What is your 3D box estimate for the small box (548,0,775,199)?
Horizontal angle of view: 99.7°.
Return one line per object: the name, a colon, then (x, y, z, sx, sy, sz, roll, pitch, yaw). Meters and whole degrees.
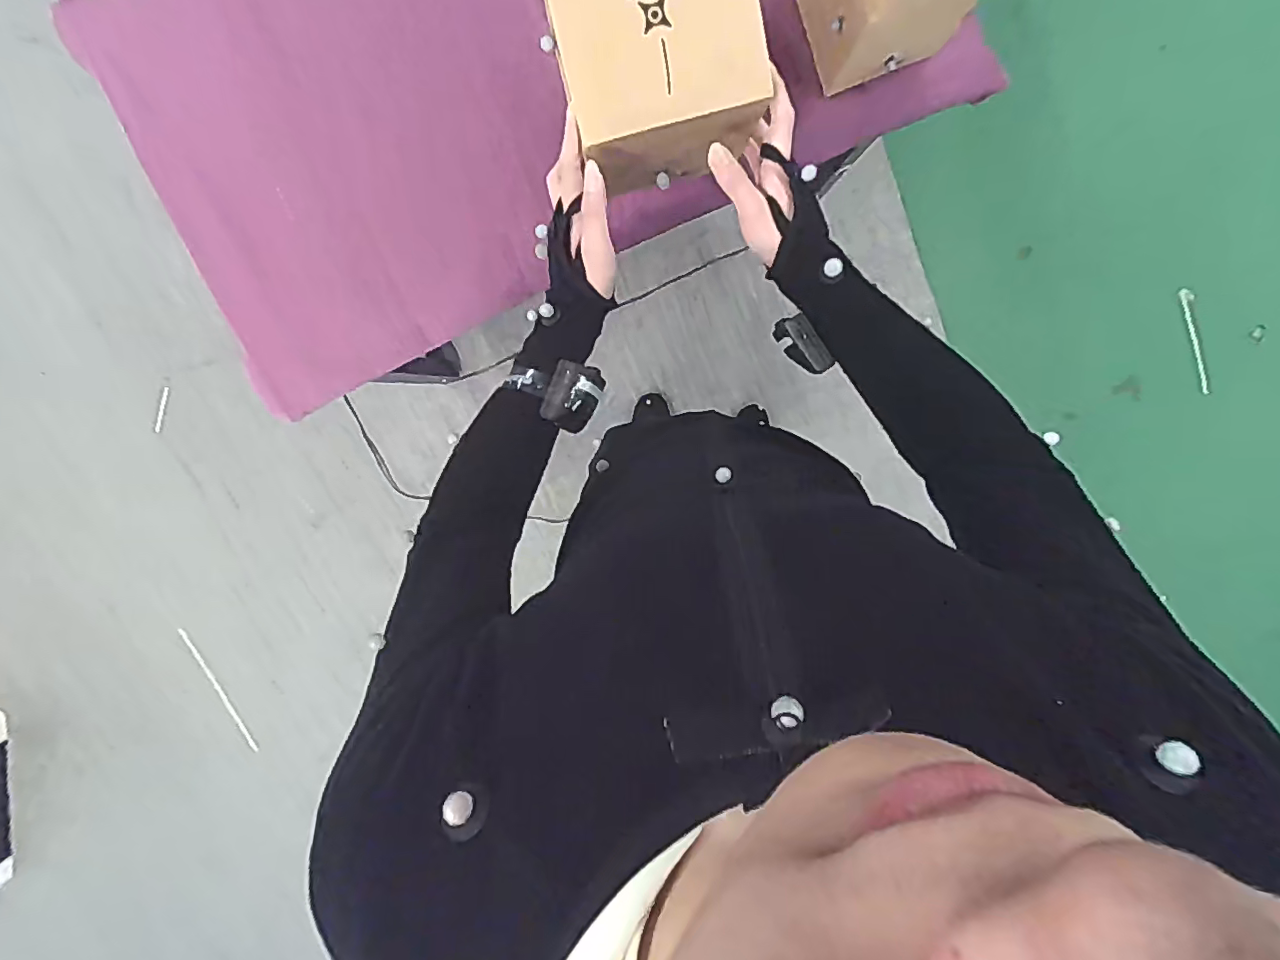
small box: (0.011, -0.393, 0.504, 0.168, 0.176, 0.179, -13, 103, 2)
